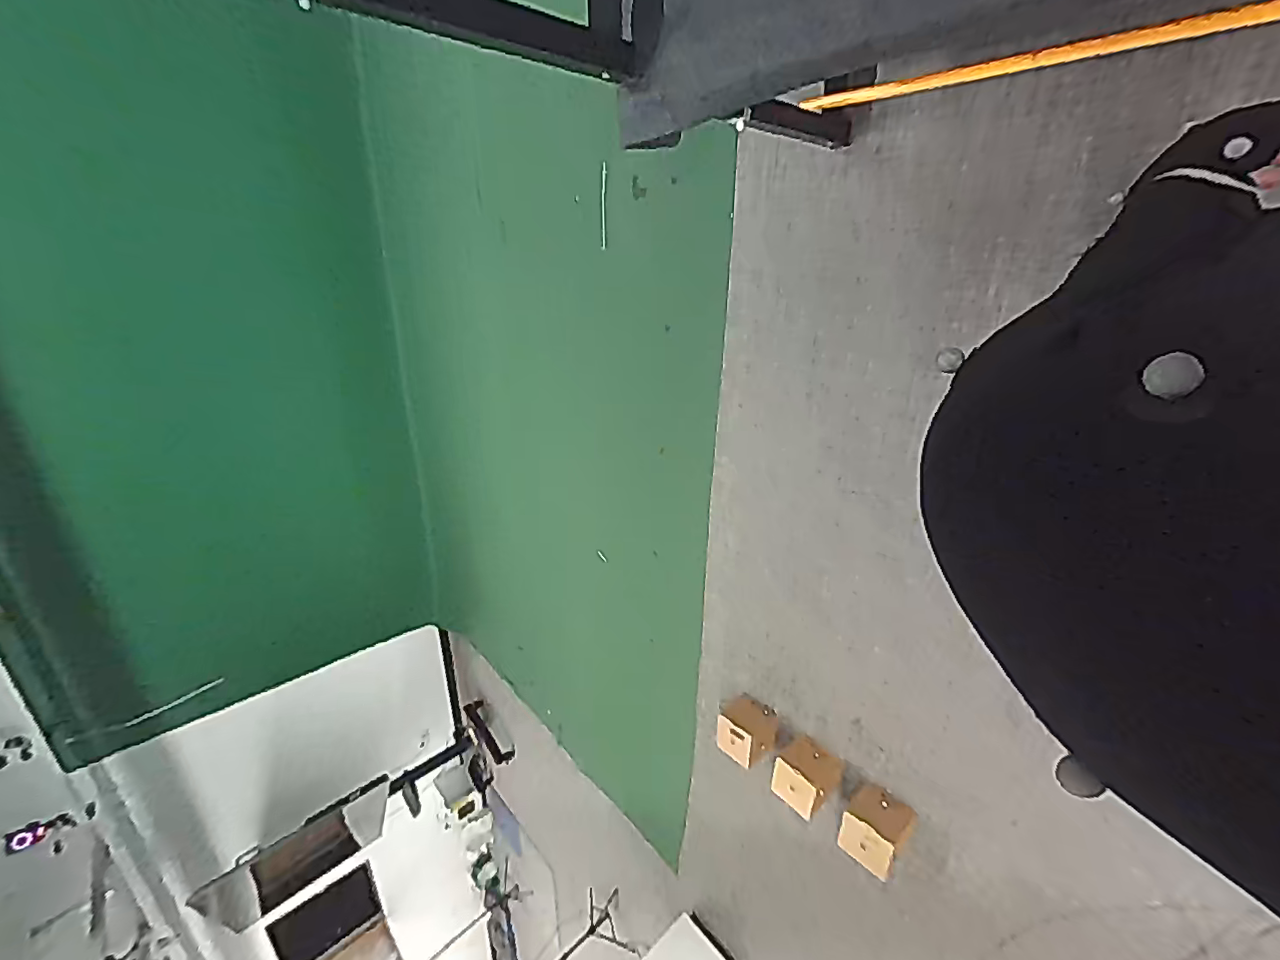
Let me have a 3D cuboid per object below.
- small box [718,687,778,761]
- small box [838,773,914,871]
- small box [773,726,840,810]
[{"bbox_3d":[0.437,0.975,2.178,0.168,0.176,0.179,23,121,44],"label":"small box"},{"bbox_3d":[0.792,1.137,1.809,0.168,0.176,0.179,23,121,42],"label":"small box"},{"bbox_3d":[0.616,1.056,1.995,0.168,0.176,0.179,26,123,43],"label":"small box"}]
